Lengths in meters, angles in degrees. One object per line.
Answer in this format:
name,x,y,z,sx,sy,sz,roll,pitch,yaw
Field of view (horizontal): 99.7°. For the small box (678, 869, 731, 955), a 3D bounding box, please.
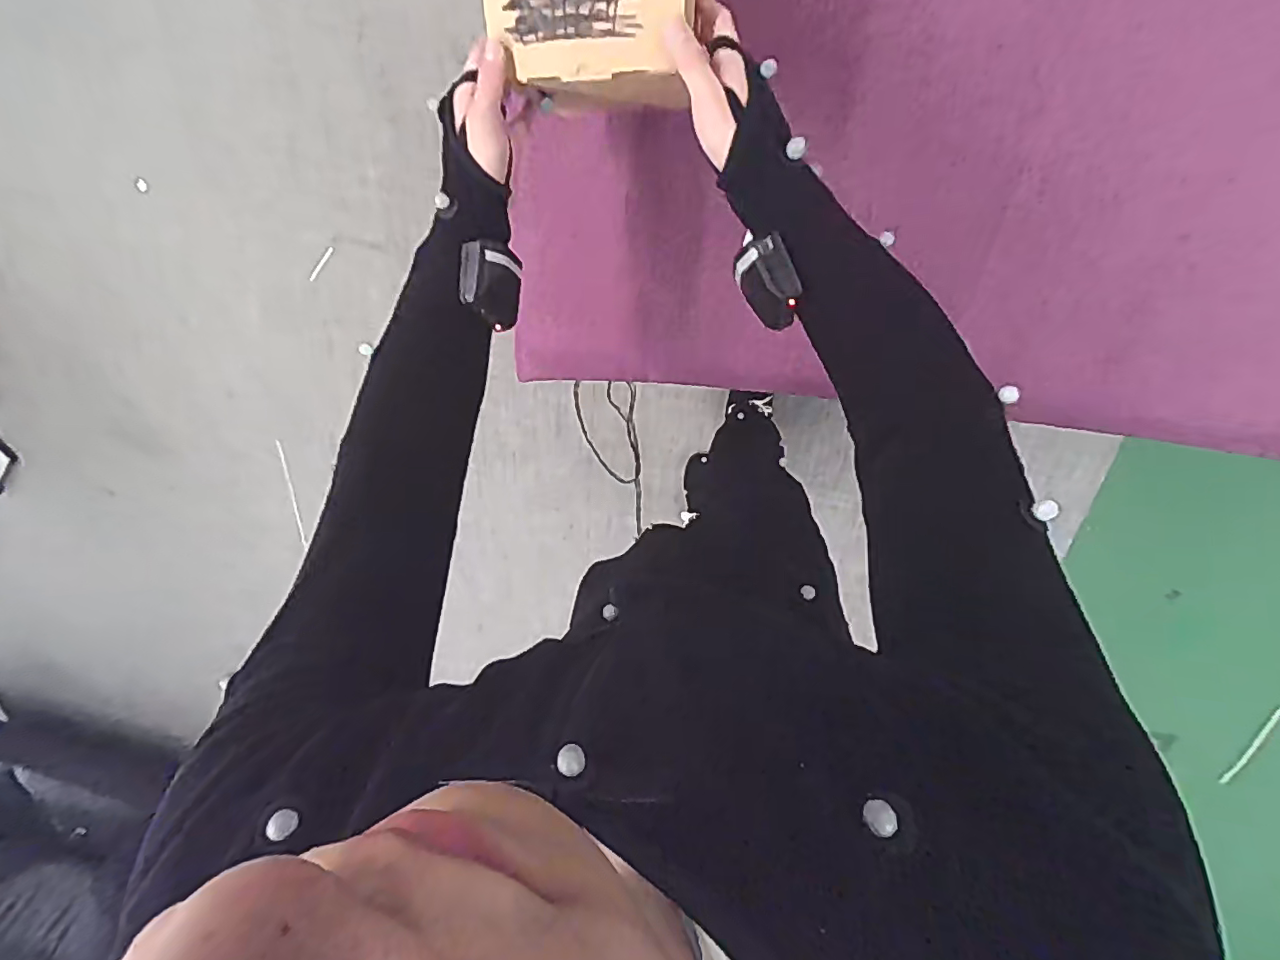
small box,0.240,1.594,2.000,0.168,0.176,0.179,8,117,10
